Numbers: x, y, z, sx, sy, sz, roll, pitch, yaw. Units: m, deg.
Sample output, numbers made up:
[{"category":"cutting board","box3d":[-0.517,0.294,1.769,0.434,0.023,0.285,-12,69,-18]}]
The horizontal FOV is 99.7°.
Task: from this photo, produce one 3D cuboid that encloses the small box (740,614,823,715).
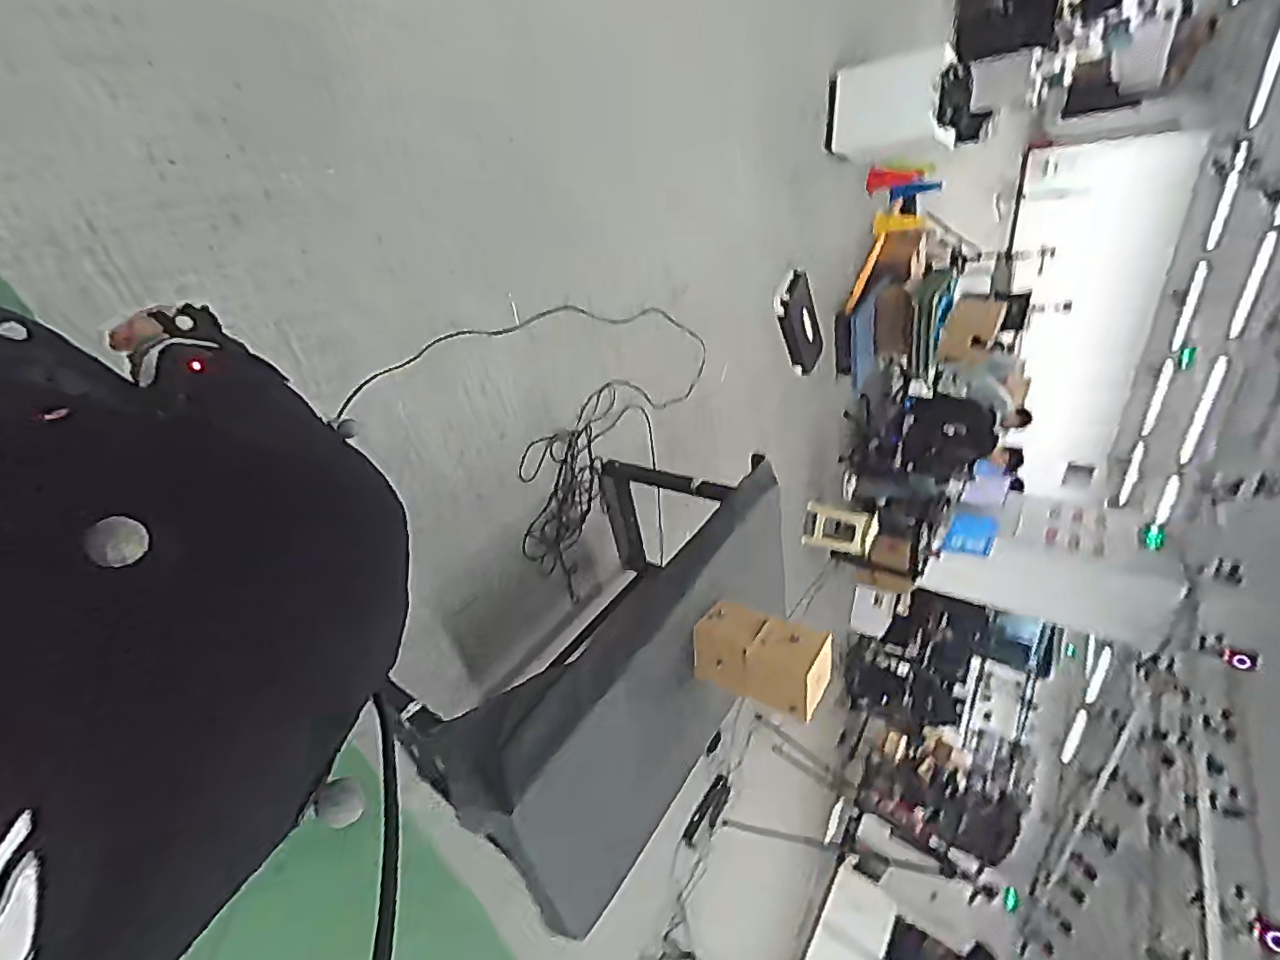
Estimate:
[{"category":"small box","box3d":[0.376,0.478,1.438,0.168,0.176,0.179,-40,131,-41]}]
